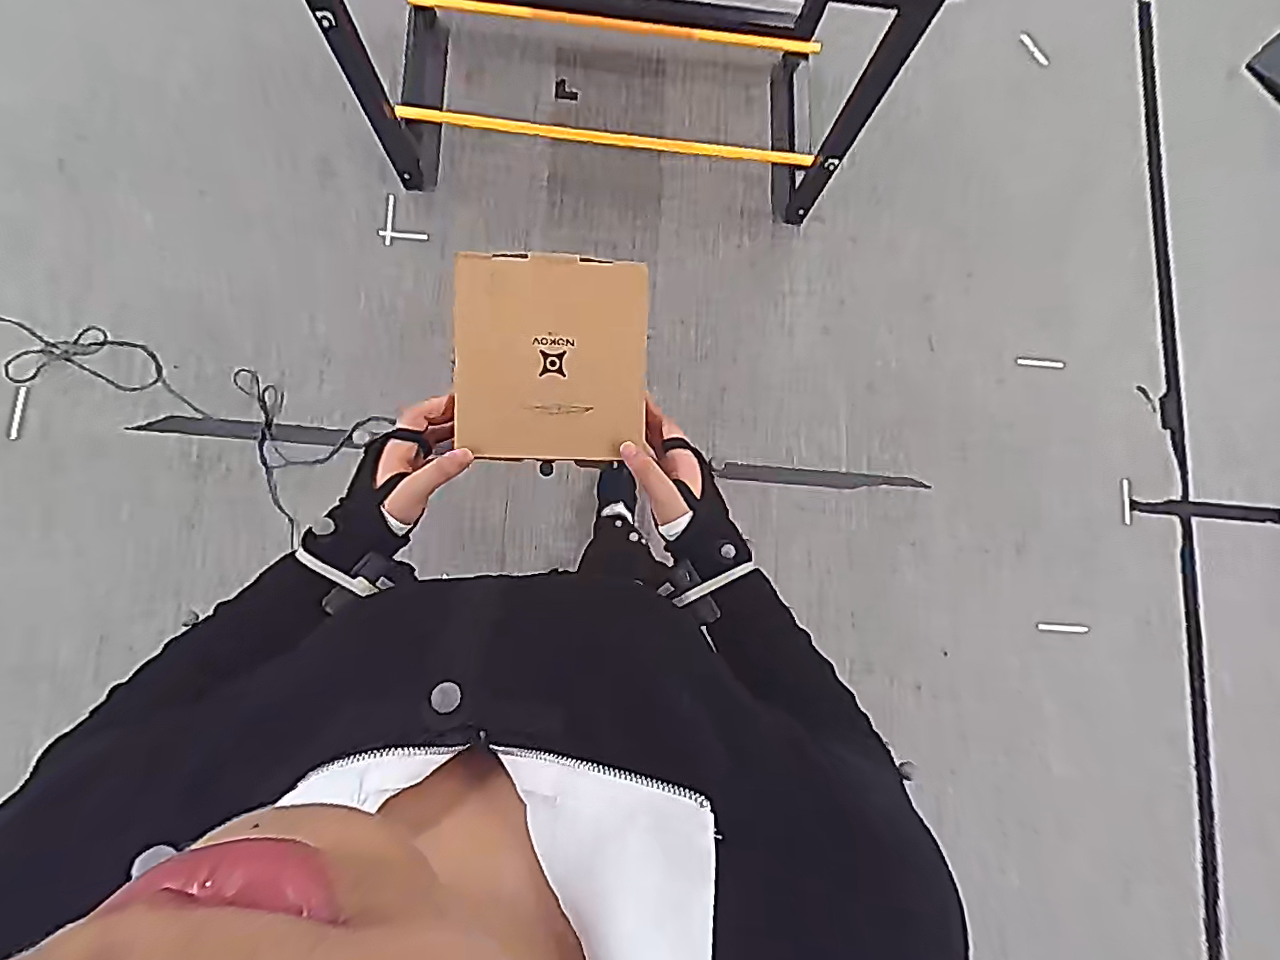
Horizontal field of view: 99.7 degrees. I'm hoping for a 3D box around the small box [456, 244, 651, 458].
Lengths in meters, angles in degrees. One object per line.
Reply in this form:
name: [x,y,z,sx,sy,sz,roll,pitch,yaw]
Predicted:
small box: [-0.083,-0.113,0.547,0.168,0.176,0.179,1,92,-6]
